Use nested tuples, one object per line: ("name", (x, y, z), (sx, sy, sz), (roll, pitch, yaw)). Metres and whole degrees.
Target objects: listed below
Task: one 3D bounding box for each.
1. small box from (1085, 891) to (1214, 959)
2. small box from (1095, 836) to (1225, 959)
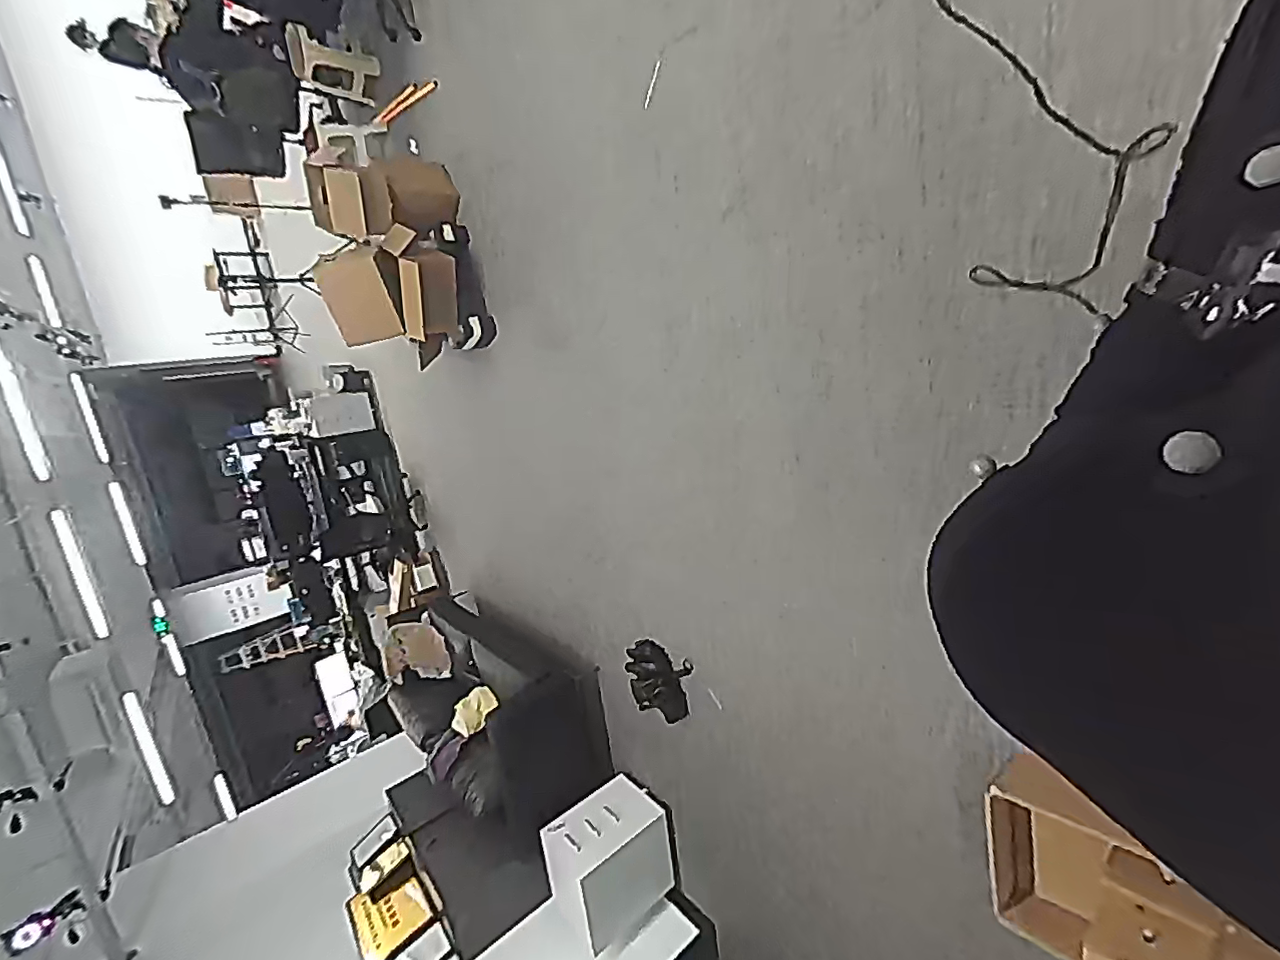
("small box", (0.996, 0.971, 1.060), (0.168, 0.176, 0.179), (3, 106, 52))
("small box", (1.113, 0.912, 1.158), (0.179, 0.176, 0.168), (2, 106, 53))
